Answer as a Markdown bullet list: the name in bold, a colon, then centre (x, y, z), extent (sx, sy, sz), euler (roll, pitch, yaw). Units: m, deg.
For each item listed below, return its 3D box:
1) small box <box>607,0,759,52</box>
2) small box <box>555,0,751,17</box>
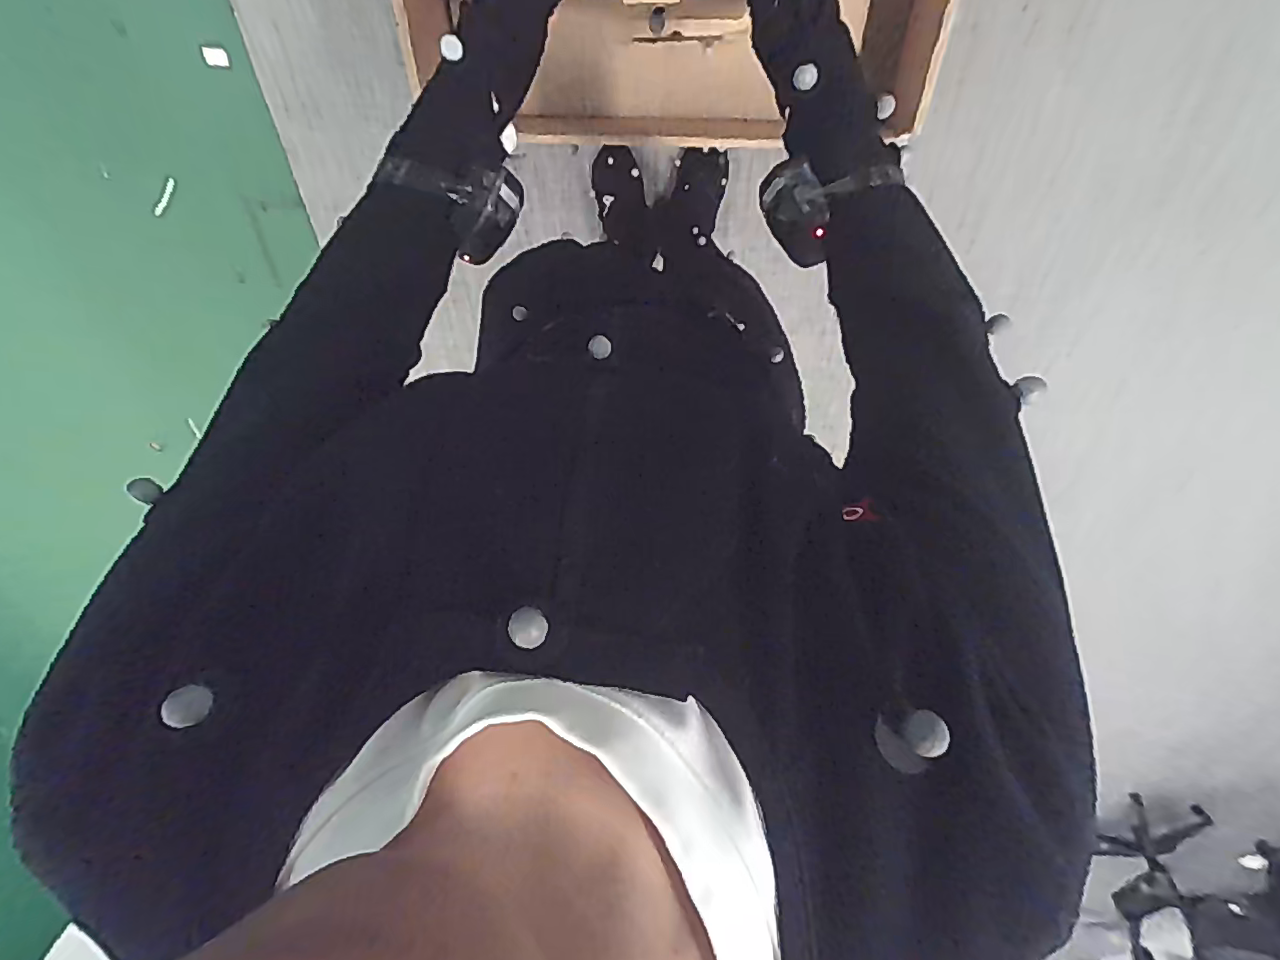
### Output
- **small box**: centre (0.050, -0.595, 0.608), extent (0.168, 0.176, 0.179), euler (1, 127, 4)
- **small box**: centre (0.020, -0.484, 0.425), extent (0.168, 0.176, 0.179), euler (3, 126, 4)
